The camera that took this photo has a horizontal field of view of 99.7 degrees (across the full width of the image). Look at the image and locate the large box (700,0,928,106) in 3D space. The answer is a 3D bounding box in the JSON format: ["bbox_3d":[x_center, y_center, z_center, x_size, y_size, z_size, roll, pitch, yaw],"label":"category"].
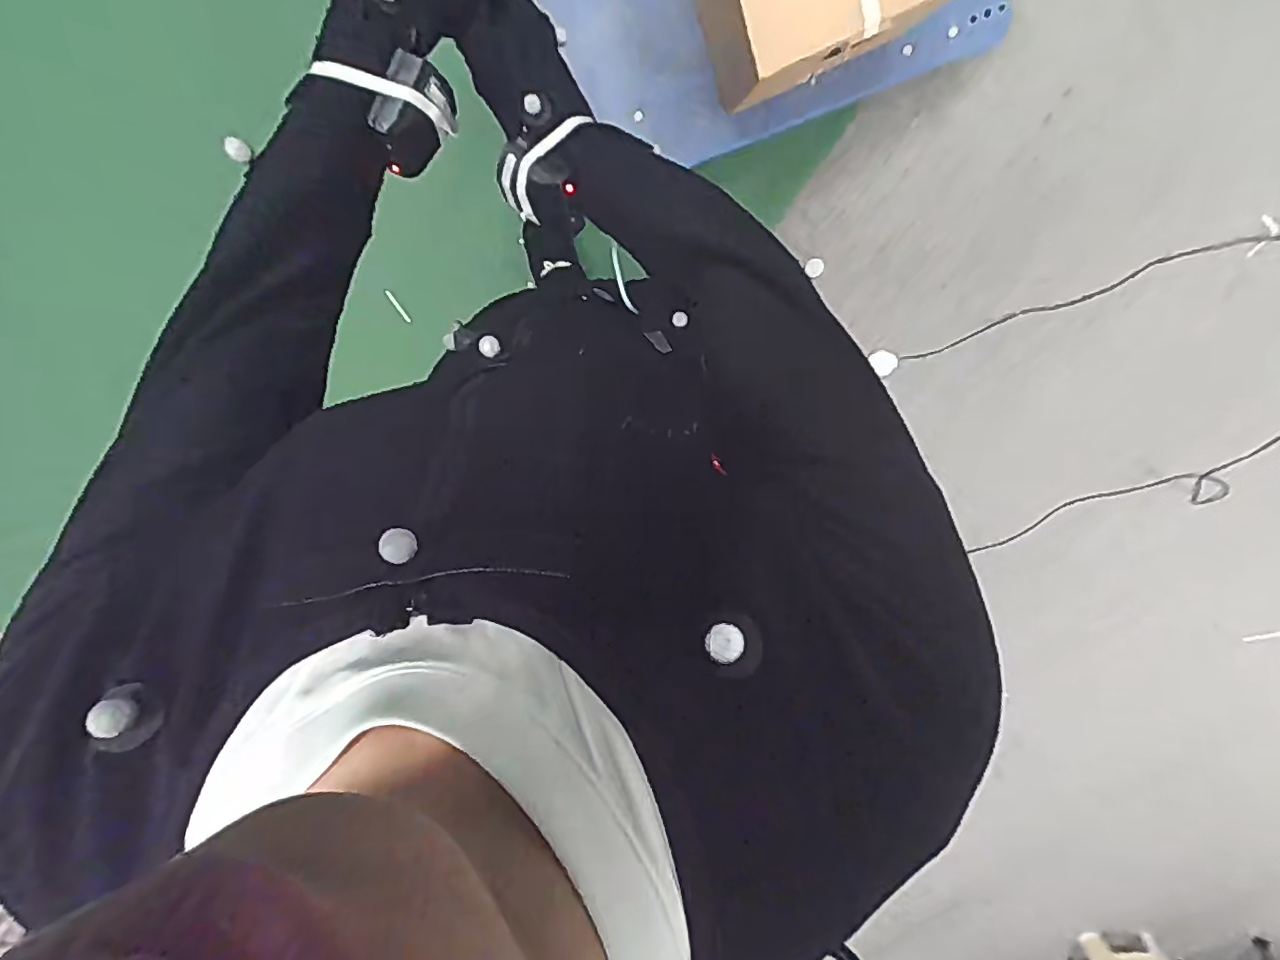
[{"bbox_3d":[0.234,-0.855,0.788,0.320,0.320,0.408,-20,114,9],"label":"large box"}]
